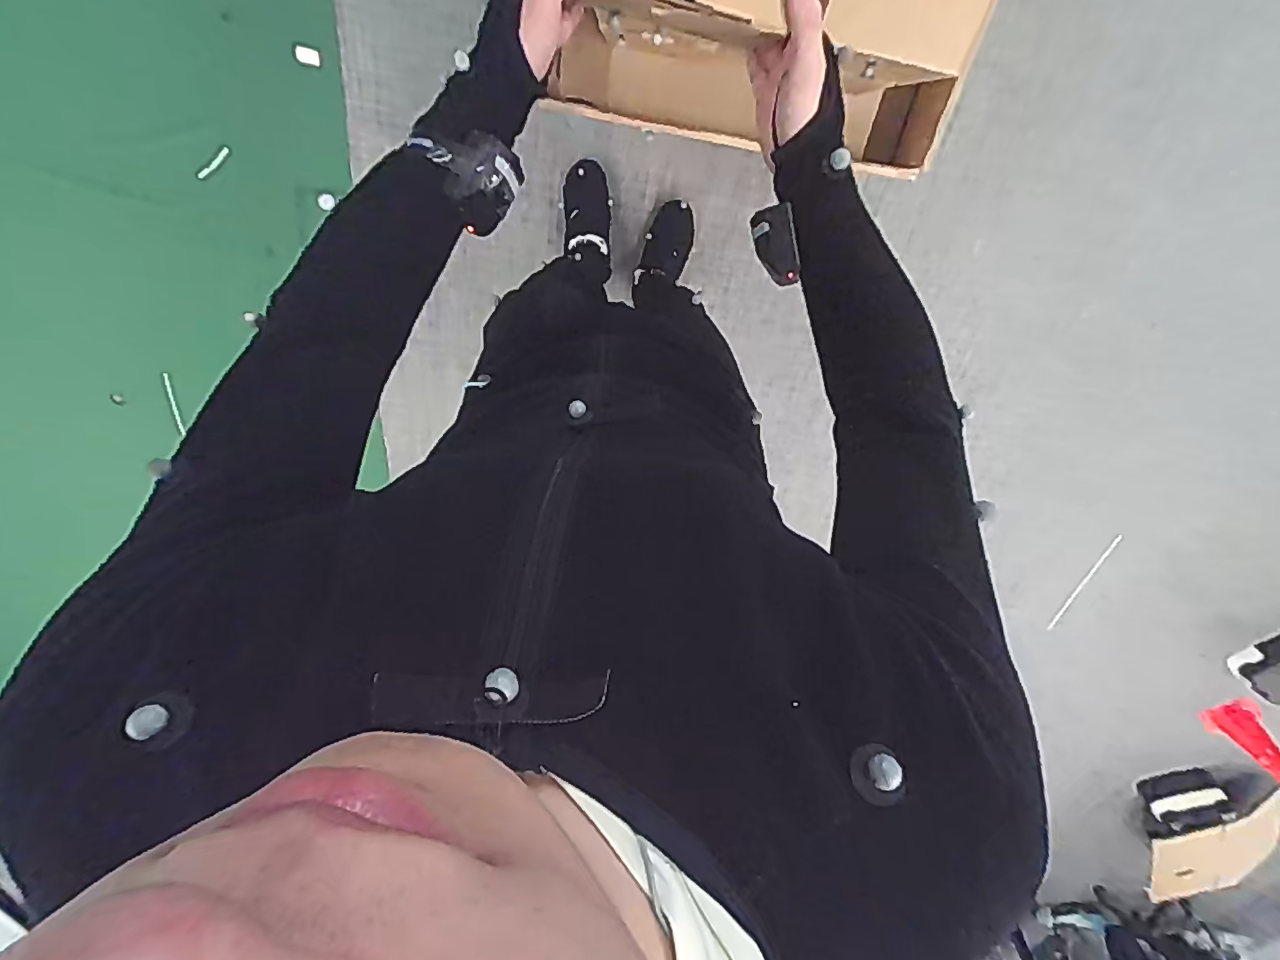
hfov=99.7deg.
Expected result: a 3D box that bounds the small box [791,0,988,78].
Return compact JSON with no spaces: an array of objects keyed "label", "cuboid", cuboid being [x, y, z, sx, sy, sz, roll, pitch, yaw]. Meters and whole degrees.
[{"label":"small box","cuboid":[0.296,-0.591,0.633,0.179,0.176,0.168,10,124,-6]}]

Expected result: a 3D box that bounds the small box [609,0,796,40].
[{"label":"small box","cuboid":[0.046,-0.462,0.406,0.168,0.176,0.179,8,124,-11]}]

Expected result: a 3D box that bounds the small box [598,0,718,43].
[{"label":"small box","cuboid":[0.038,-0.629,0.608,0.168,0.176,0.179,9,122,-5]}]
